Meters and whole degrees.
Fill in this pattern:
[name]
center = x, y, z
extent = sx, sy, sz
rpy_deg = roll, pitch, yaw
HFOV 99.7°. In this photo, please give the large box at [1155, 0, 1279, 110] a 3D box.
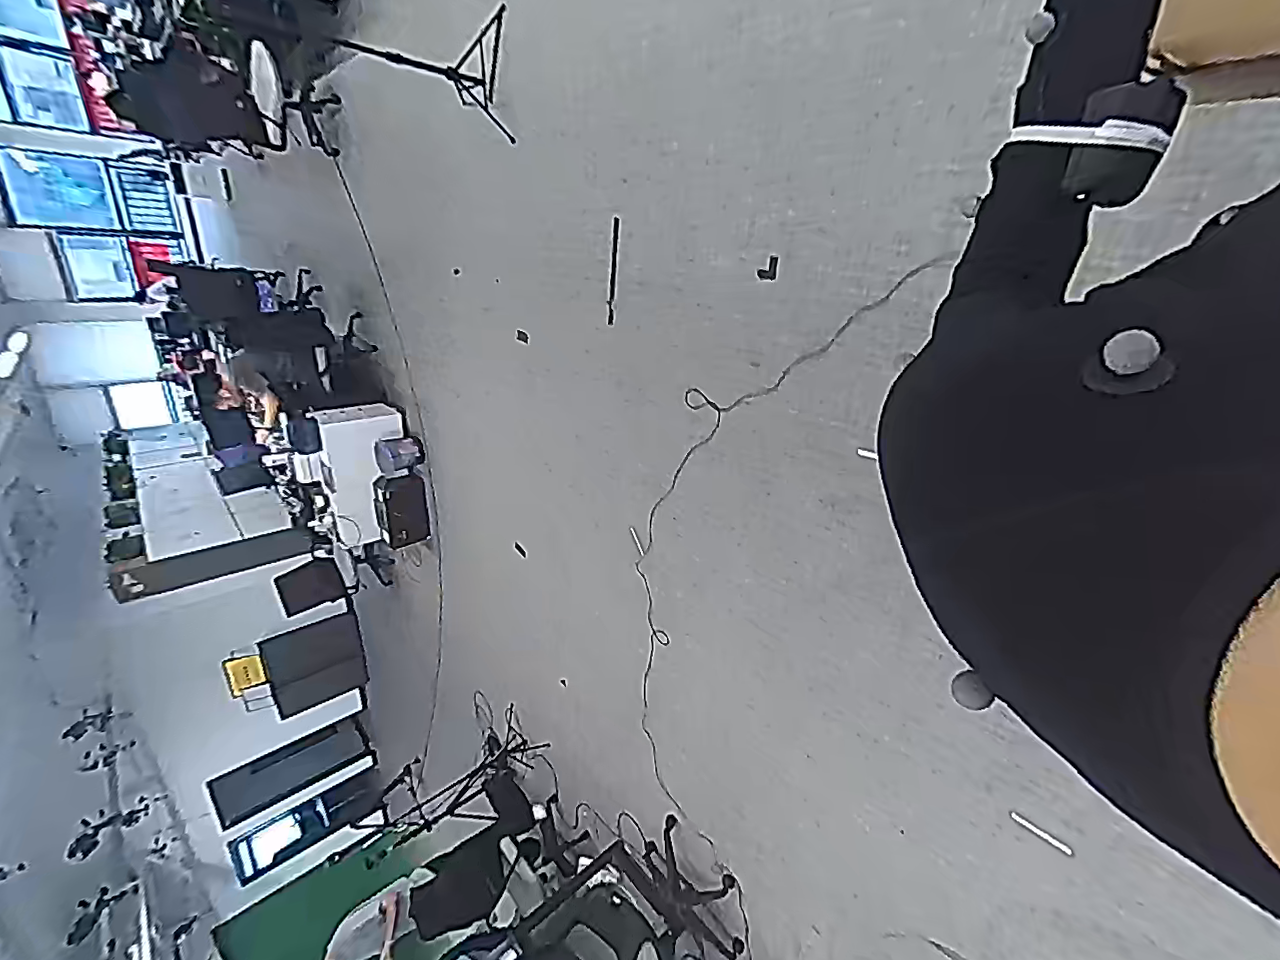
[large box]
center = 0.557, -0.392, 0.244
extent = 0.408, 0.320, 0.320
rpy_deg = 21, 127, 39
